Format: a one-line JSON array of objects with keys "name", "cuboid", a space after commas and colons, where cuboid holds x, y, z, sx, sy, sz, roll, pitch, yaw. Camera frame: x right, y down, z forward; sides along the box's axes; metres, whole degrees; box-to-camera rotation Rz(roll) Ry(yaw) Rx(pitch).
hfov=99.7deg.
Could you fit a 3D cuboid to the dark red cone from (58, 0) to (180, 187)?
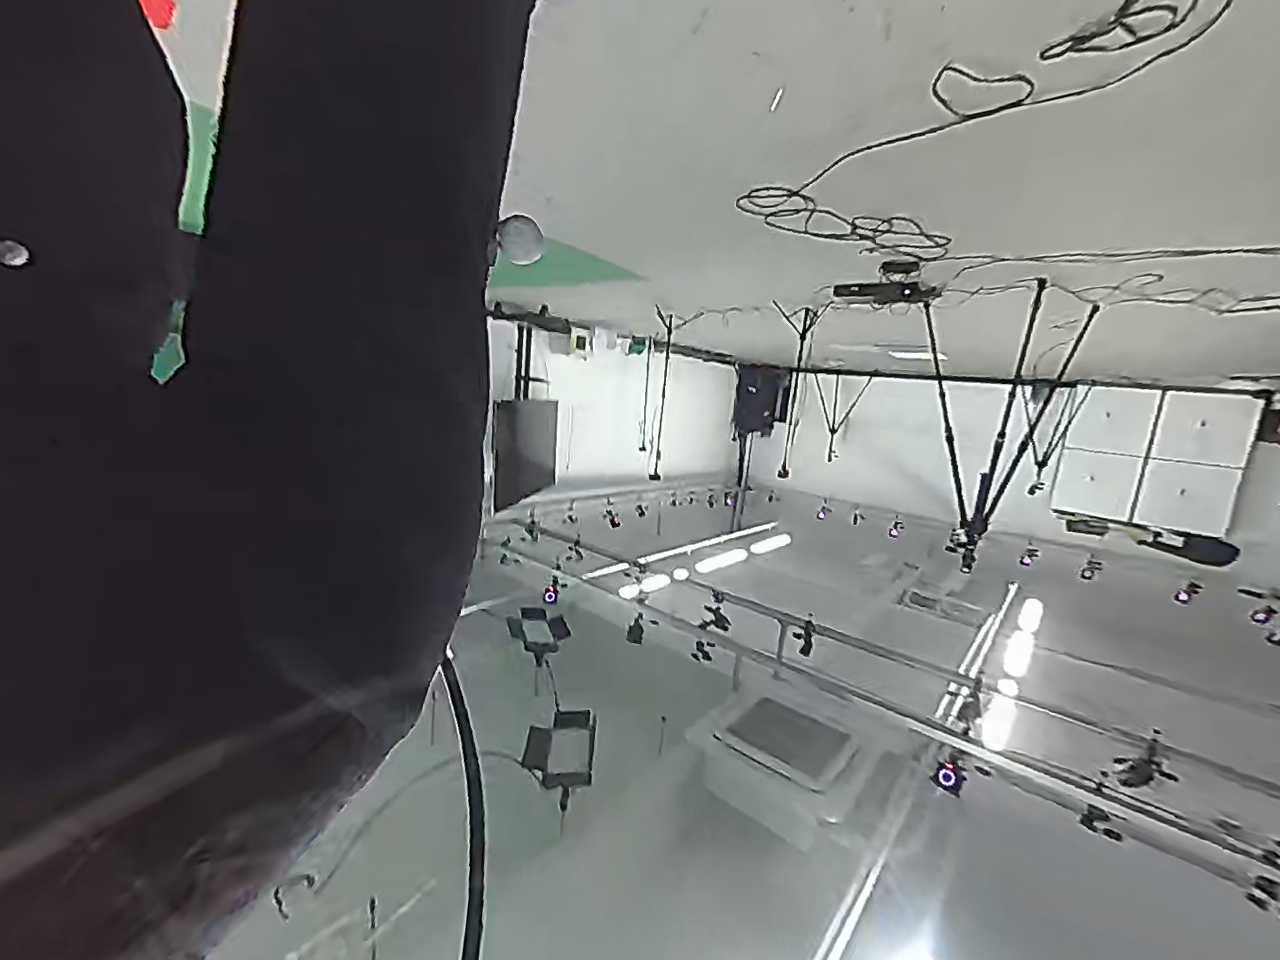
[{"name": "dark red cone", "cuboid": [-1.201, -0.901, 1.259, 0.202, 0.394, 0.201, -3, -165, -44]}]
